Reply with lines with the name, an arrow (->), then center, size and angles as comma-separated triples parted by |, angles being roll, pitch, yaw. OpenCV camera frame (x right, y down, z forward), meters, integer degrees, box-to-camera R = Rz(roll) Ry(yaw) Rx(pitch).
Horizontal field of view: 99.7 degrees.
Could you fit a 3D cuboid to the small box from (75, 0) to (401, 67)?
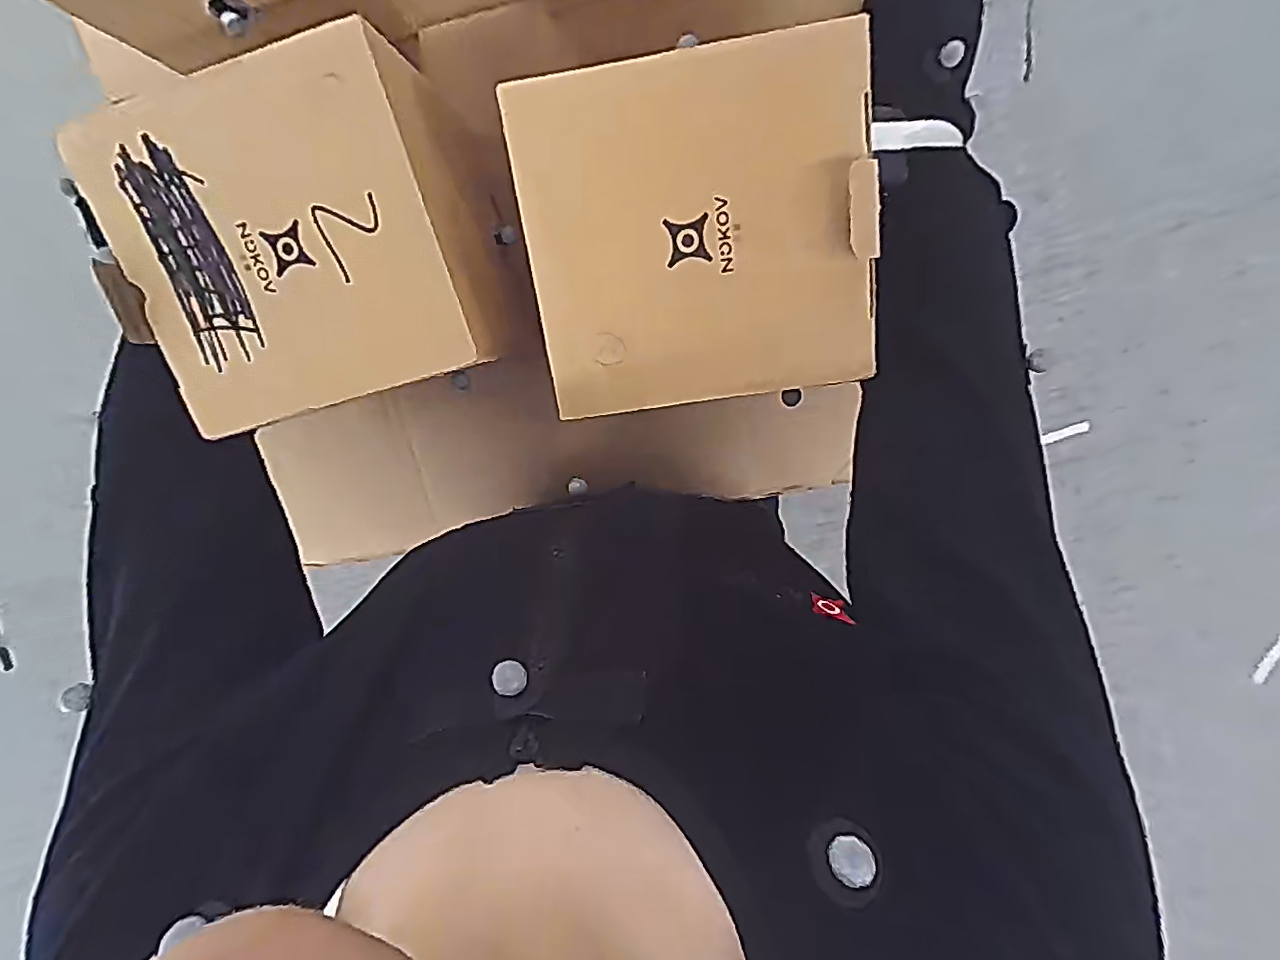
small box -> -0.268, -0.376, 0.307 | 0.168, 0.176, 0.179 | -11, 103, 6
